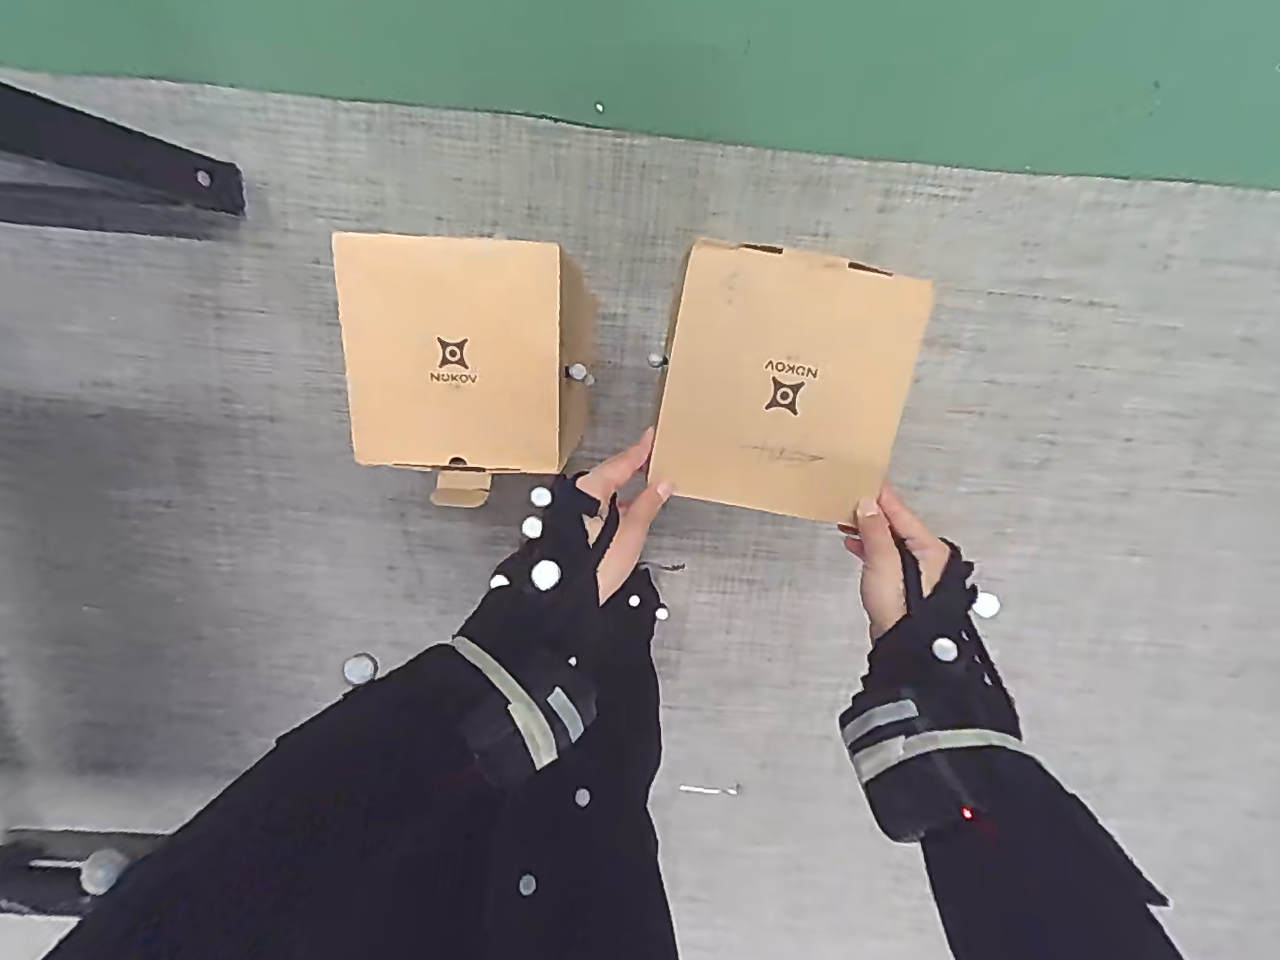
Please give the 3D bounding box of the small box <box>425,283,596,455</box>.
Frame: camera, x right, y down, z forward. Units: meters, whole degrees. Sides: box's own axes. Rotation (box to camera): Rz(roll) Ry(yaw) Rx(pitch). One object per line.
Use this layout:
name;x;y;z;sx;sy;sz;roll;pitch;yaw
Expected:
small box;-0.144;-0.139;0.656;0.168;0.176;0.179;3;107;-1

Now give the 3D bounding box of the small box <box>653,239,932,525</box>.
small box;0.104;-0.079;0.454;0.168;0.176;0.179;9;102;-1
